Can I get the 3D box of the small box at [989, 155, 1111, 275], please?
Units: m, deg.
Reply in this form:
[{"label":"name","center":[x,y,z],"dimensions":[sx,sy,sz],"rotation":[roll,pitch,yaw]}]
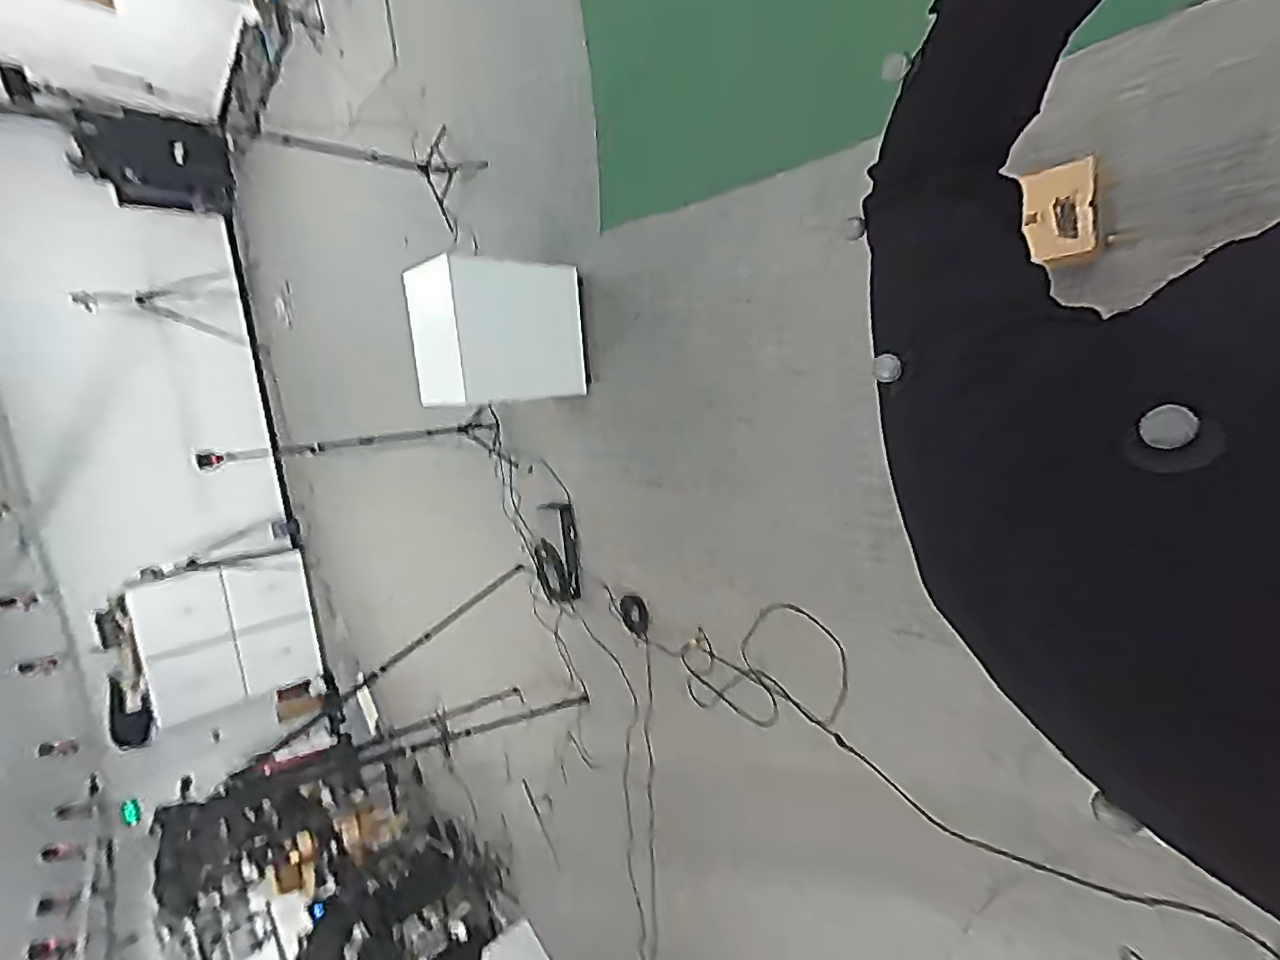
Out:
[{"label":"small box","center":[0.830,-0.523,1.092],"dimensions":[0.179,0.176,0.168],"rotation":[2,101,47]}]
